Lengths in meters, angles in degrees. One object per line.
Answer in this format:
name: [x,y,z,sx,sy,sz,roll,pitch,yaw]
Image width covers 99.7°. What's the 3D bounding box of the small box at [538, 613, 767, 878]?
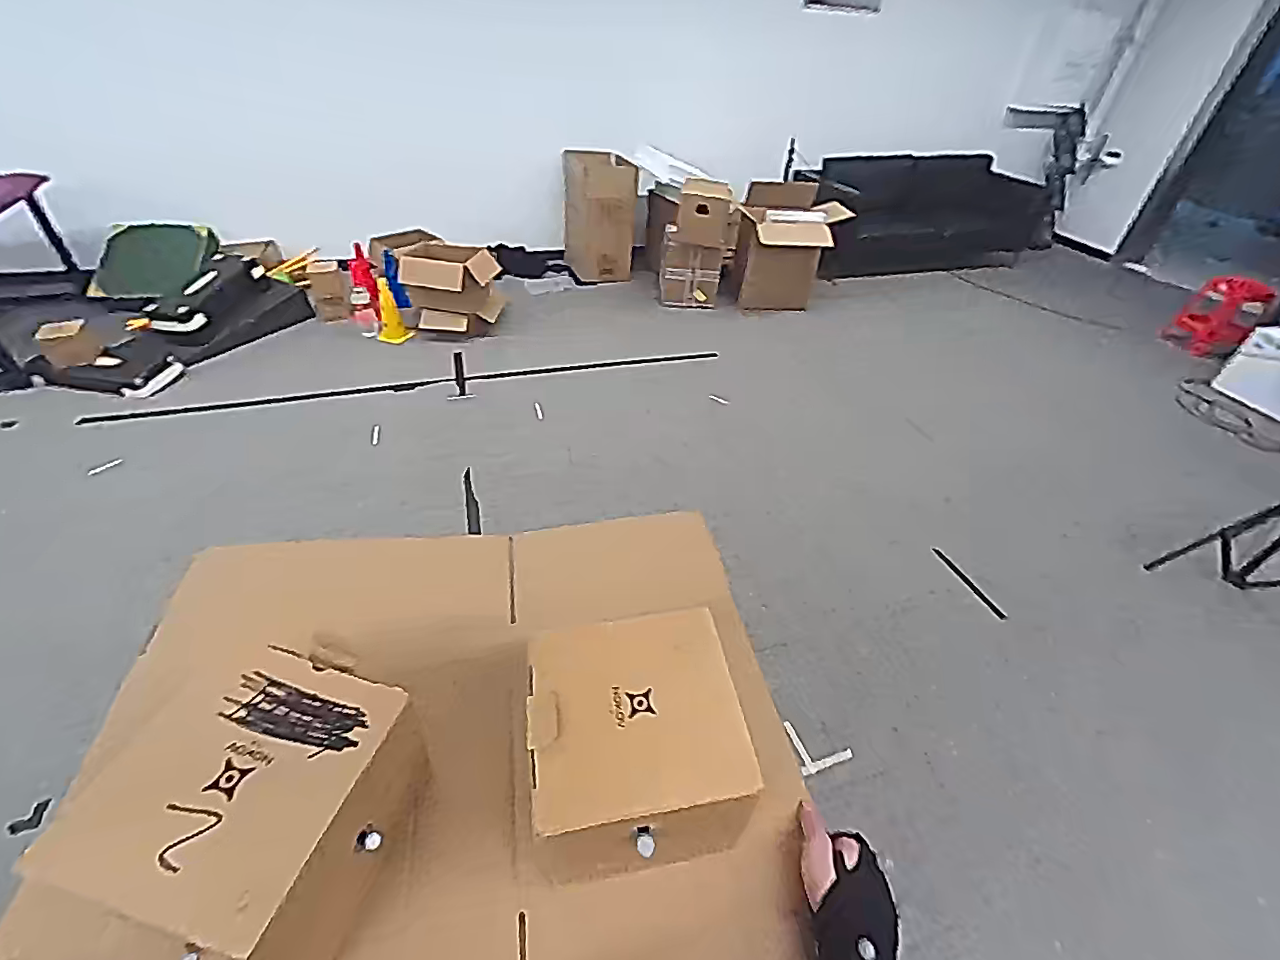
small box: [0.001,0.254,0.522,0.179,0.176,0.168,-8,44,-7]
